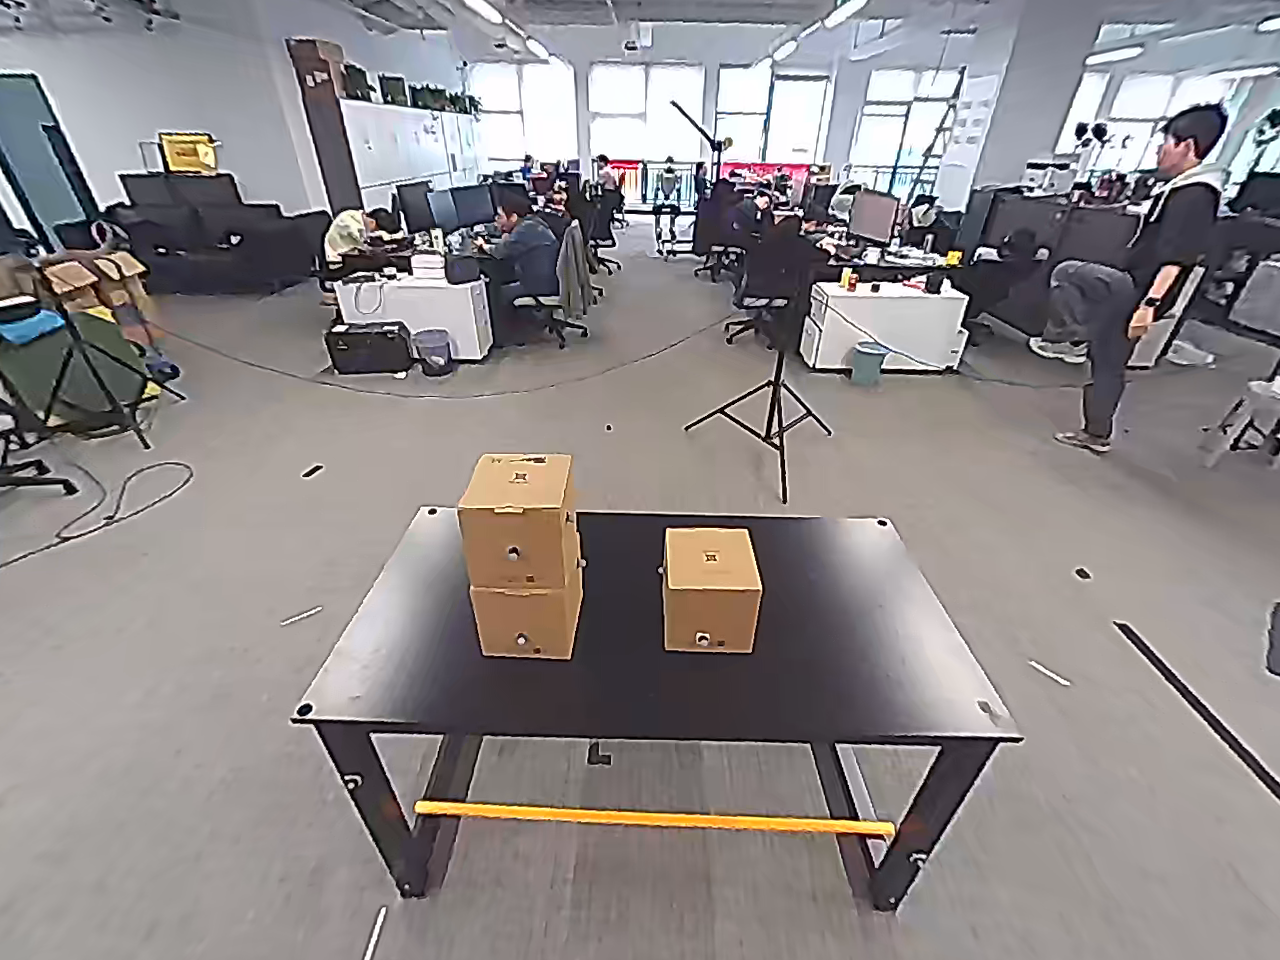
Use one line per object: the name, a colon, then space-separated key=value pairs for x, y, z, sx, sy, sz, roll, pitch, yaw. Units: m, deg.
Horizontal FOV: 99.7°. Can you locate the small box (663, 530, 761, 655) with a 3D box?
small box: x=0.131 y=0.215 z=1.052 sx=0.168 sy=0.176 sz=0.179 roll=-1 pitch=33 yaw=0

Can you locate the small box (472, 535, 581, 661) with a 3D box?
small box: x=-0.206 y=0.218 z=1.035 sx=0.168 sy=0.176 sz=0.179 roll=2 pitch=32 yaw=2

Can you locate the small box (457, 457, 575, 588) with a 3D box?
small box: x=-0.206 y=0.075 z=0.956 sx=0.168 sy=0.176 sz=0.179 roll=1 pitch=33 yaw=-1
